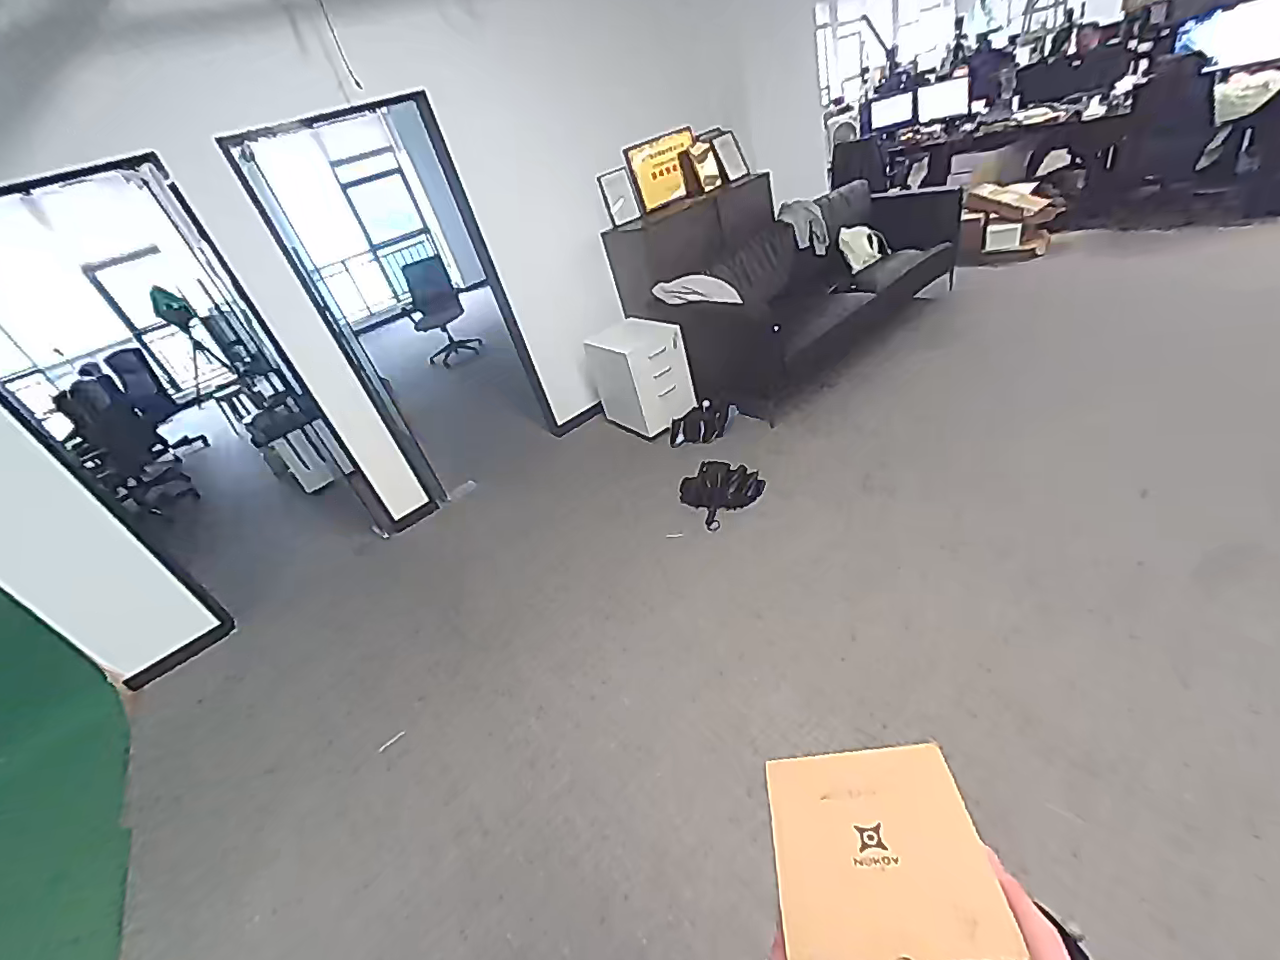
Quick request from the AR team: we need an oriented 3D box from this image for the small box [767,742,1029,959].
[{"bbox_3d":[0.219,0.373,0.484,0.168,0.176,0.179,-12,22,12],"label":"small box"}]
